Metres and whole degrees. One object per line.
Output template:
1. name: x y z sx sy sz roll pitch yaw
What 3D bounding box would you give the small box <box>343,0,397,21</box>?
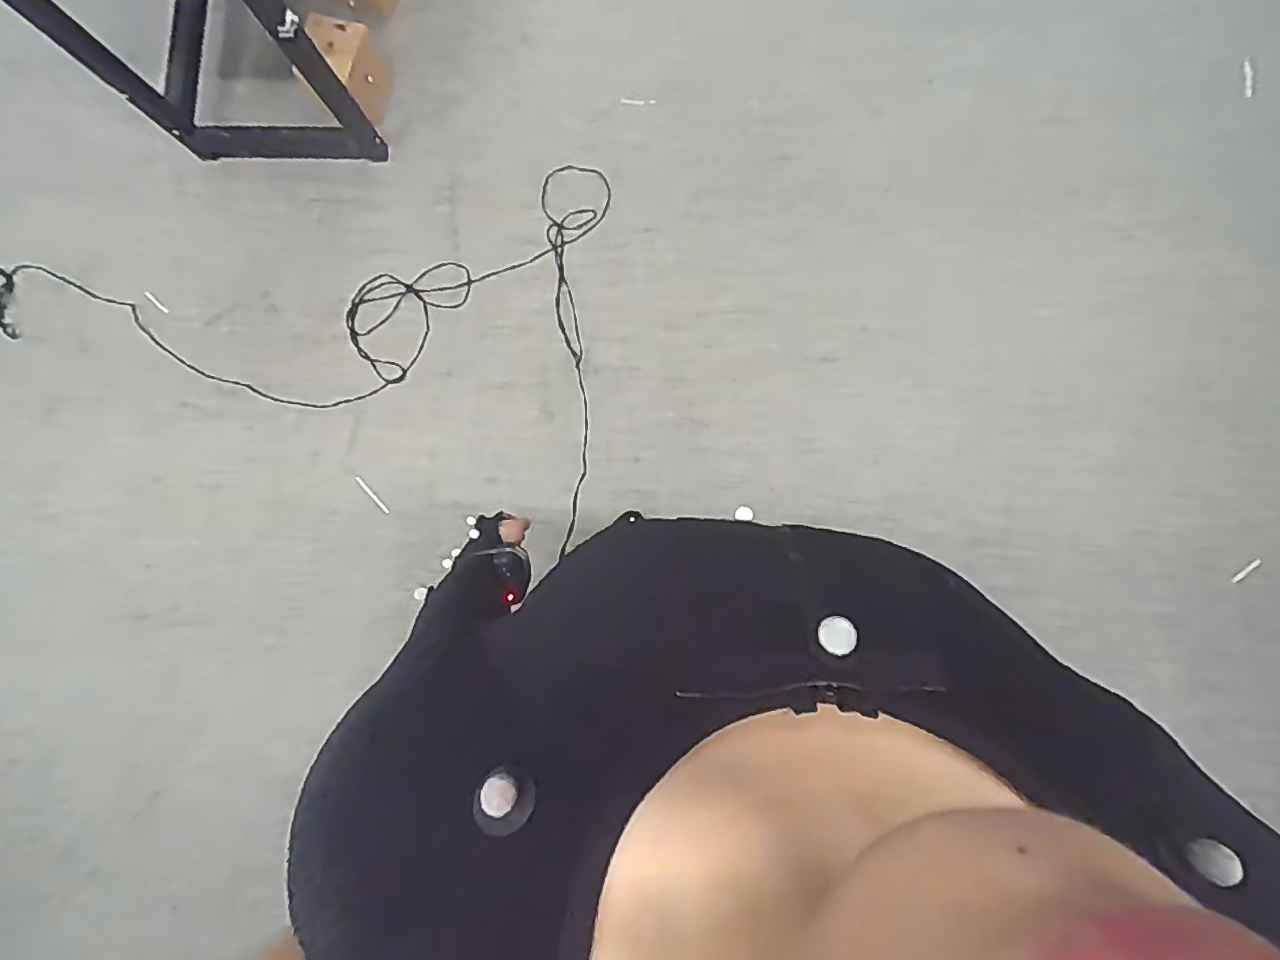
1. small box: -0.813 -1.515 1.581 0.168 0.176 0.179 23 88 4

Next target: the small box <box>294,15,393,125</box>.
1. small box: -0.843 -1.170 1.556 0.168 0.176 0.179 15 87 3
